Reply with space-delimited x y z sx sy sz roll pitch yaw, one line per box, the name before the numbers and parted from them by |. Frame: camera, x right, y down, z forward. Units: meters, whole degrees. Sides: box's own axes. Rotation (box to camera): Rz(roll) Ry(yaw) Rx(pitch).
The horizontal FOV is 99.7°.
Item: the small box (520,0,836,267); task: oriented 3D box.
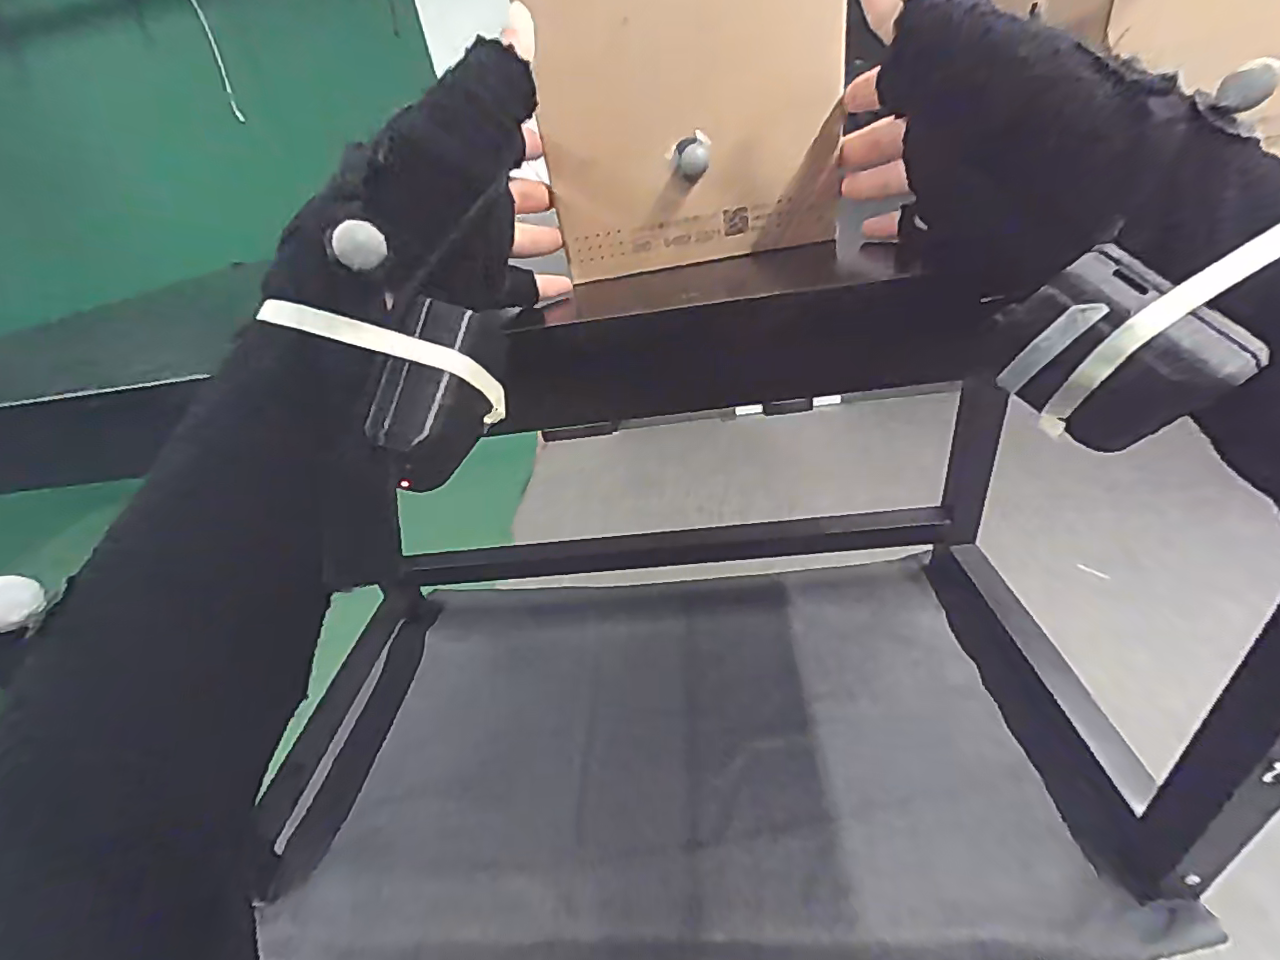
small box | 0.024 -0.253 0.368 0.168 0.176 0.179 -9 31 4
